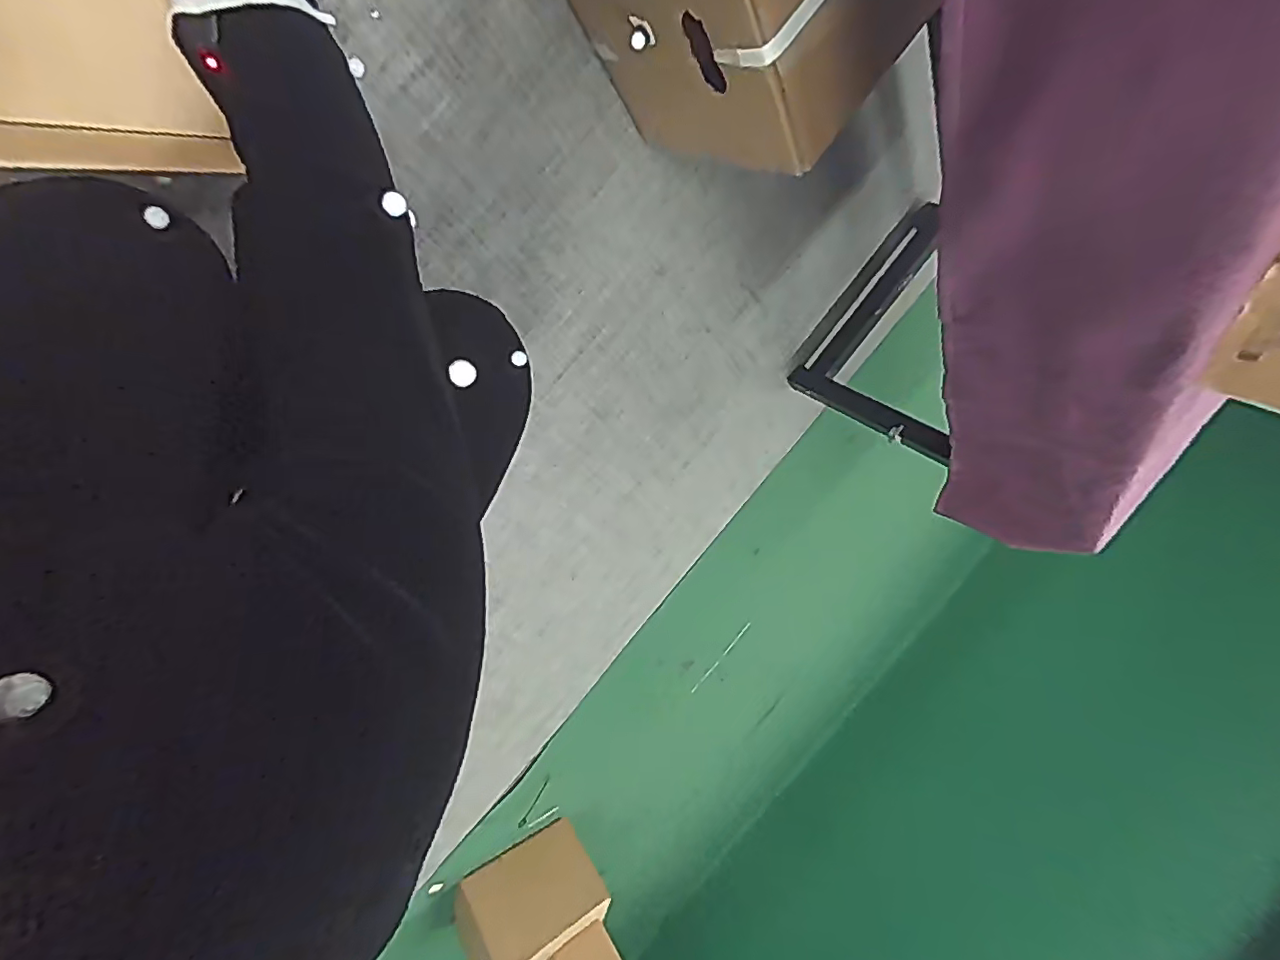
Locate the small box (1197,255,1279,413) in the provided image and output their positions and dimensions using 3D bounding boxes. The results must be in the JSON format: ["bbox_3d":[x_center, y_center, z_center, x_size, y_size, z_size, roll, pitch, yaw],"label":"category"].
[{"bbox_3d":[0.647,-0.155,0.454,0.179,0.176,0.168,-46,141,-3],"label":"small box"}]
